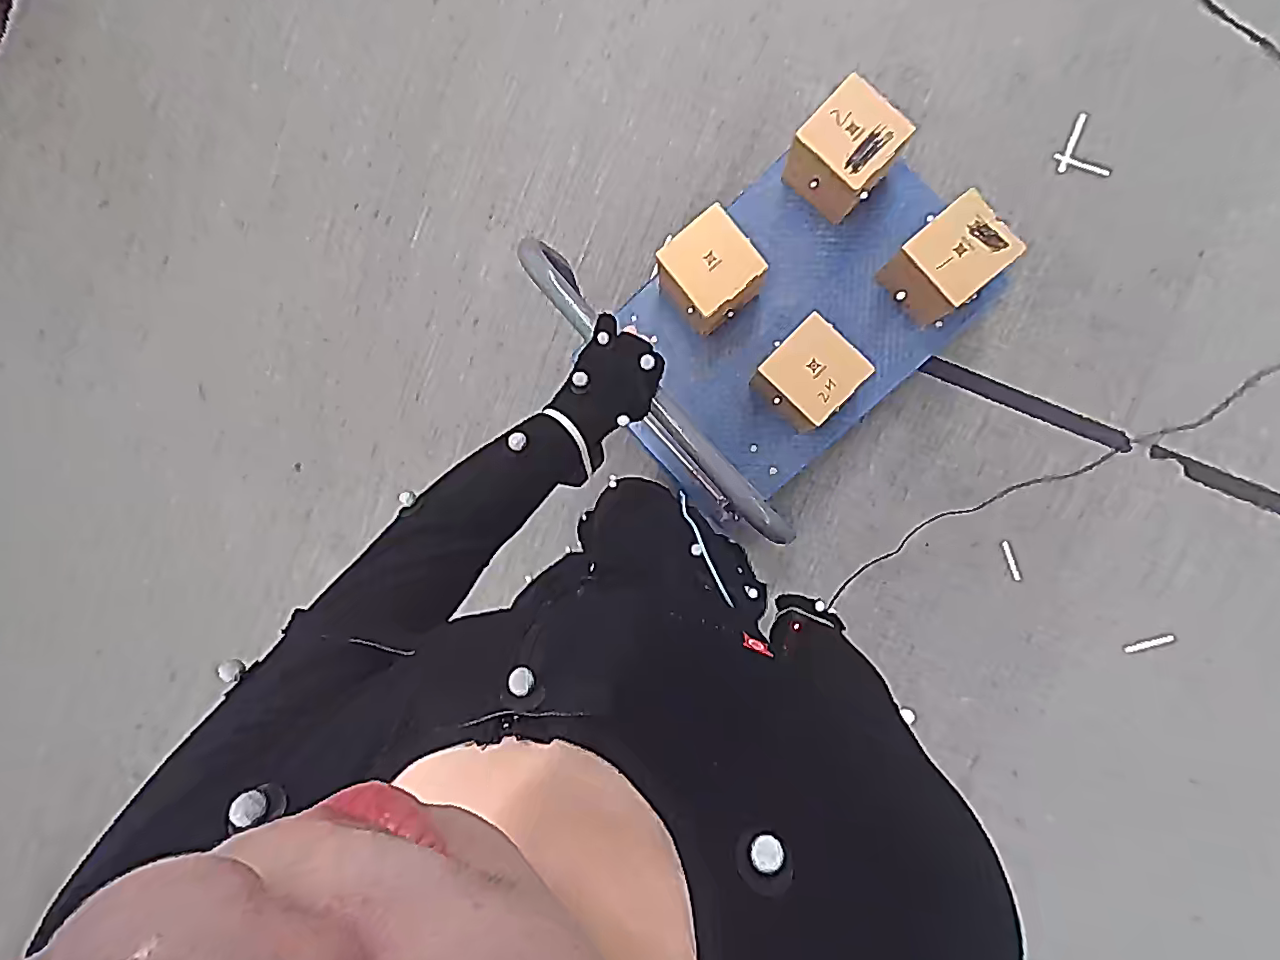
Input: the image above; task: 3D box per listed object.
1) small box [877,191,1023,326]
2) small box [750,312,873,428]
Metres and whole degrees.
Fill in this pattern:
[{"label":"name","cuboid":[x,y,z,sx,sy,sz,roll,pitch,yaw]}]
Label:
[{"label":"small box","cuboid":[0.644,-0.460,1.149,0.179,0.176,0.168,-40,88,6]},{"label":"small box","cuboid":[0.362,-0.227,1.180,0.168,0.176,0.179,-45,88,5]}]
